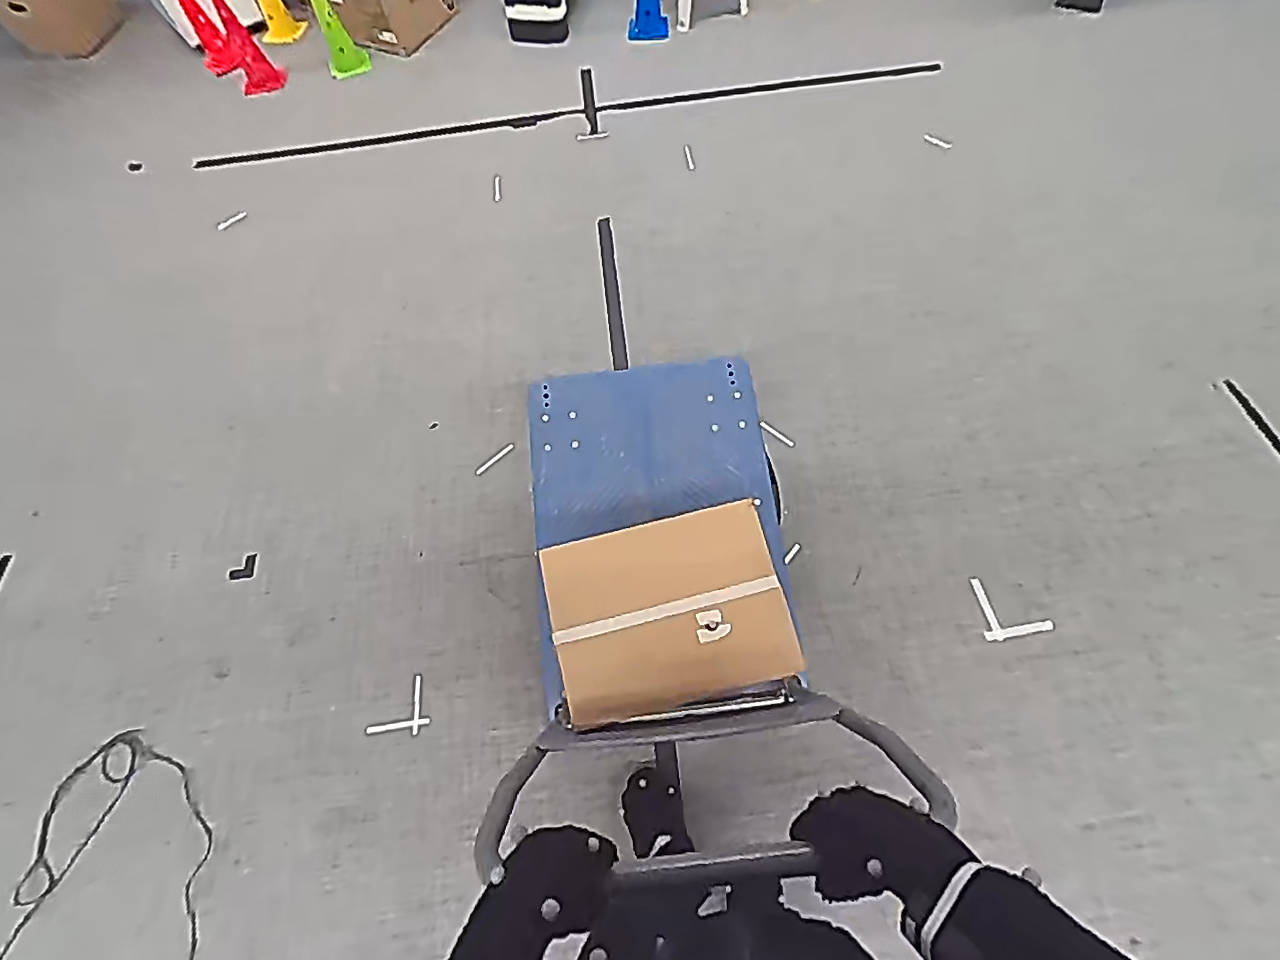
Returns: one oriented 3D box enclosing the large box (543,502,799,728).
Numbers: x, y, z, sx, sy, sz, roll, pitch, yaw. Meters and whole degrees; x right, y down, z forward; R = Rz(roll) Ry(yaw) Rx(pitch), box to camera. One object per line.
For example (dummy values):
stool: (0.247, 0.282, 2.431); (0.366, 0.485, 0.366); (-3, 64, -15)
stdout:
large box: (0.049, 0.274, 1.105); (0.408, 0.320, 0.320); (-14, 74, -4)
